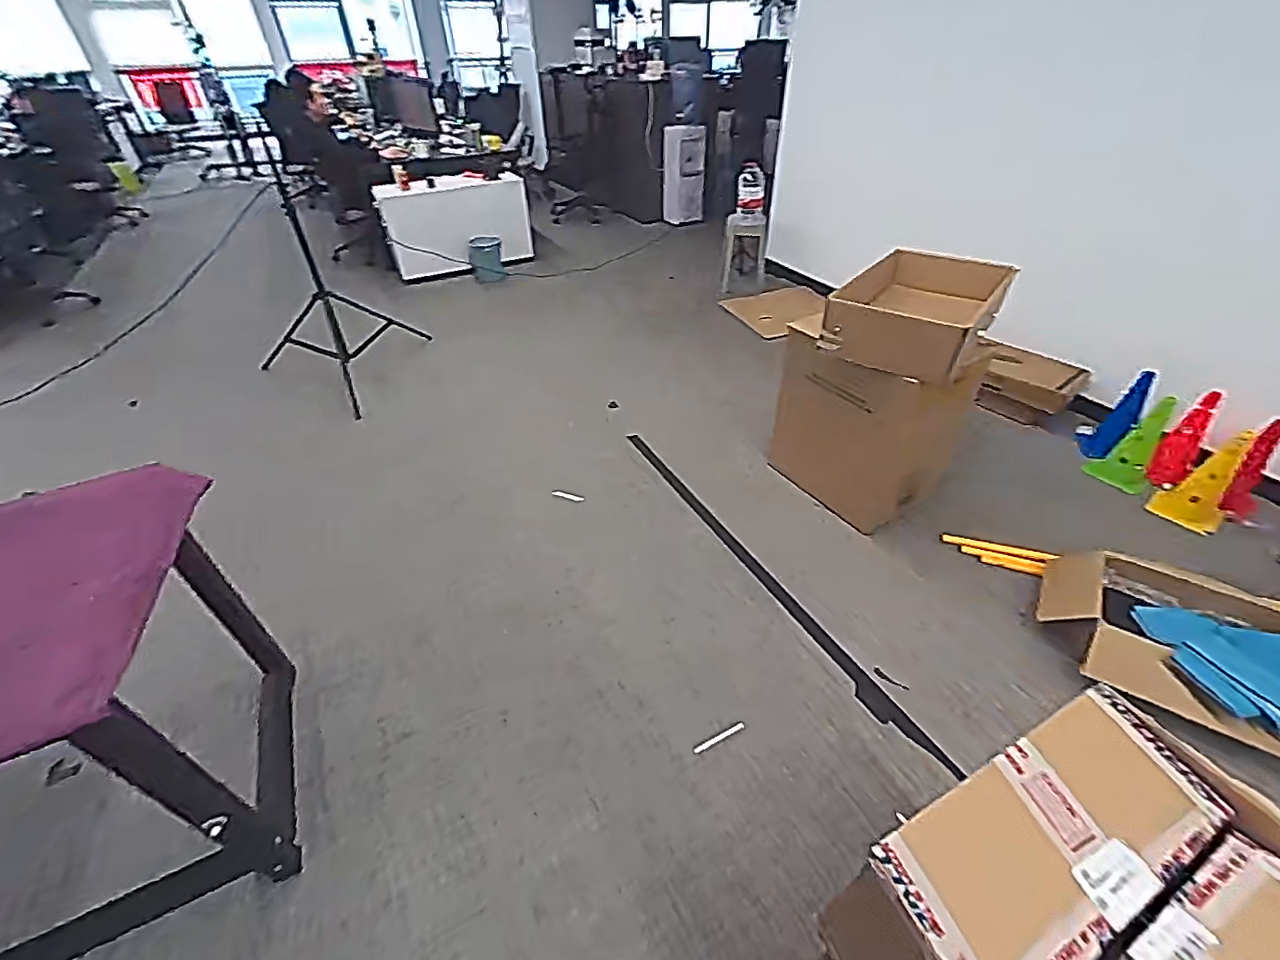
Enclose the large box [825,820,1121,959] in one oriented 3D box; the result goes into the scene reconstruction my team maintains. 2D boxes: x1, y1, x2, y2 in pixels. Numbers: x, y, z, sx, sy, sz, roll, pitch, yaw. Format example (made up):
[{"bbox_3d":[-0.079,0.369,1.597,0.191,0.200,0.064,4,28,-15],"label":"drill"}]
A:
[{"bbox_3d":[0.539,0.878,0.906,0.408,0.320,0.320,-21,43,-21],"label":"large box"}]
